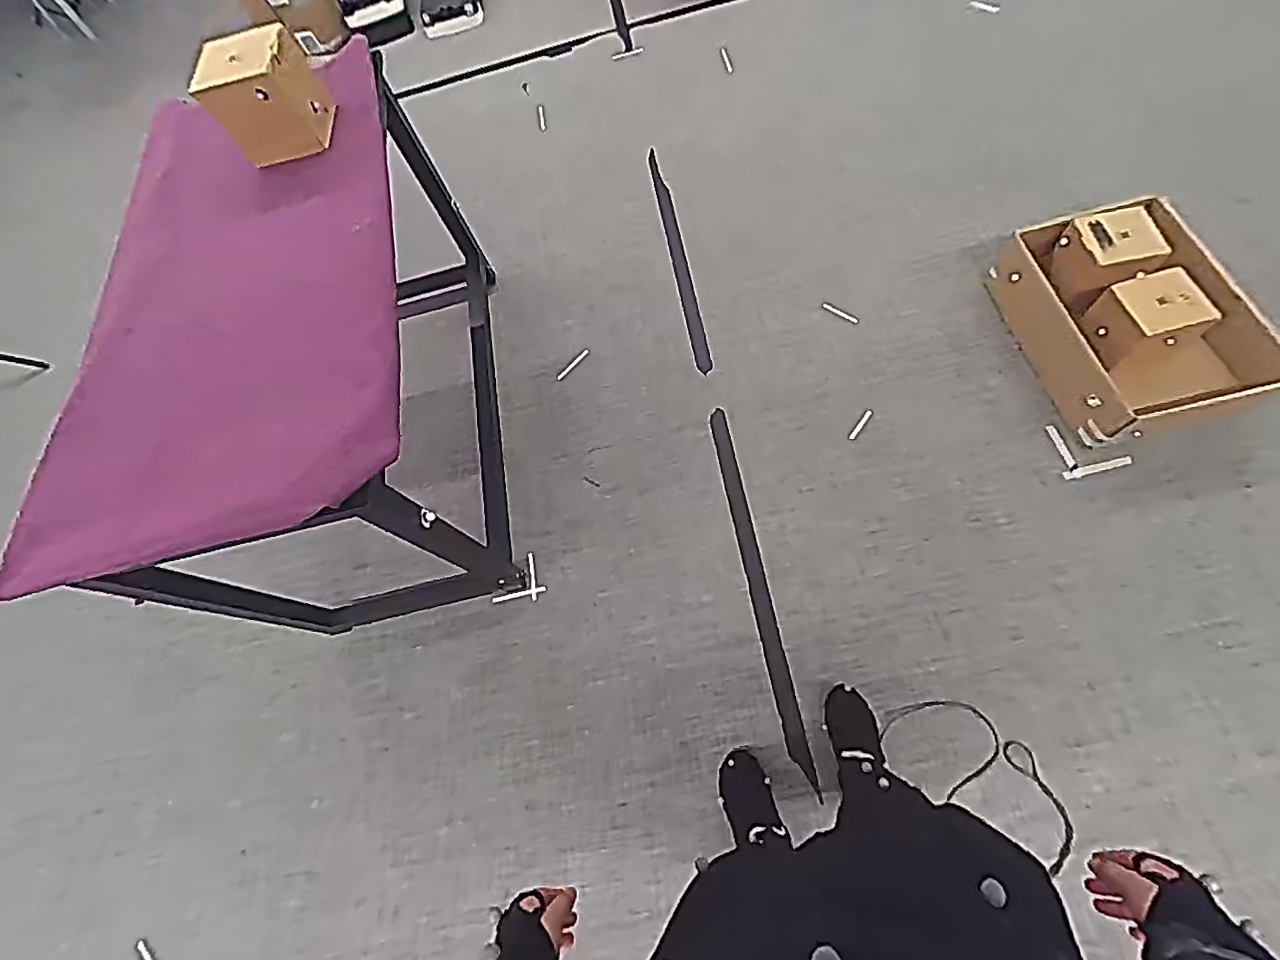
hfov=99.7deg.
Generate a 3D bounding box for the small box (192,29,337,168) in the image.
[{"bbox_3d":[-0.791,-0.805,1.155,0.179,0.176,0.168,-9,67,7],"label":"small box"}]

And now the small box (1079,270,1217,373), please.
[{"bbox_3d":[1.286,-0.400,1.391,0.179,0.176,0.168,-14,66,4],"label":"small box"}]
